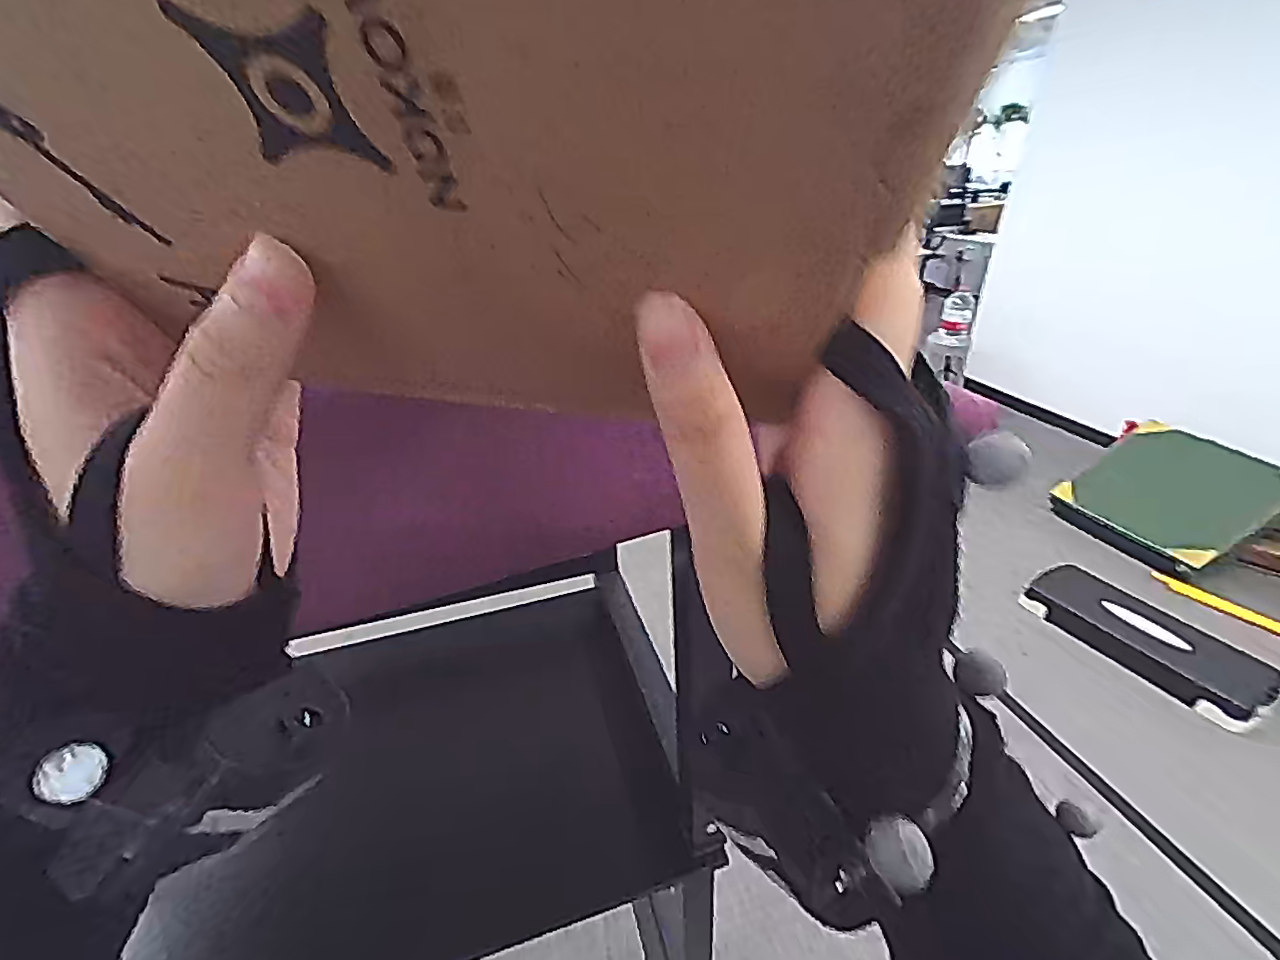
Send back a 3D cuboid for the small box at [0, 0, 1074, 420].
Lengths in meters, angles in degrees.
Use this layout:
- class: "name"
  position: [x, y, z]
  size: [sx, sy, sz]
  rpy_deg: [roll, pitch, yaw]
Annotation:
- class: "small box"
  position: [-0.024, -0.133, 0.114]
  size: [0.179, 0.168, 0.176]
  rpy_deg: [7, 65, 4]
